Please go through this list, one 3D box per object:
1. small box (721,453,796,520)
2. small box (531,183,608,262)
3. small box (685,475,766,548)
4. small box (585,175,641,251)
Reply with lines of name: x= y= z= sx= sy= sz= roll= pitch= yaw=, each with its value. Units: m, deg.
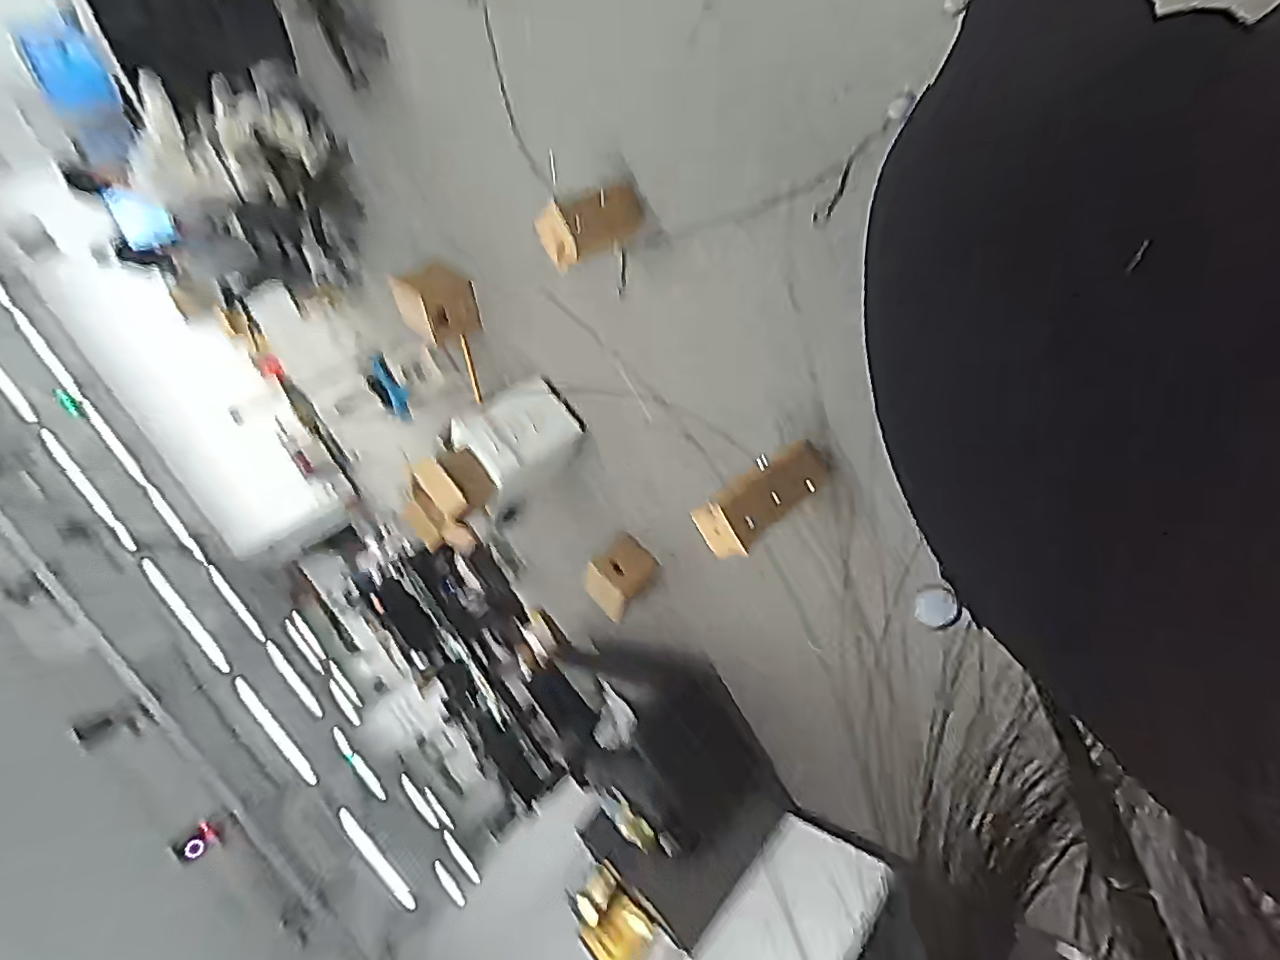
small box: x=0.412 y=0.030 z=1.889 sx=0.168 sy=0.176 sz=0.179 roll=-19 pitch=103 yaw=58
small box: x=-0.238 y=-0.886 z=1.859 sx=0.168 sy=0.176 sz=0.179 roll=-12 pitch=109 yaw=57
small box: x=0.290 y=0.108 z=1.812 sx=0.179 sy=0.176 sz=0.168 roll=58 pitch=149 yaw=-8
small box: x=-0.128 y=-0.967 z=1.952 sx=0.168 sy=0.176 sz=0.179 roll=-13 pitch=109 yaw=57
